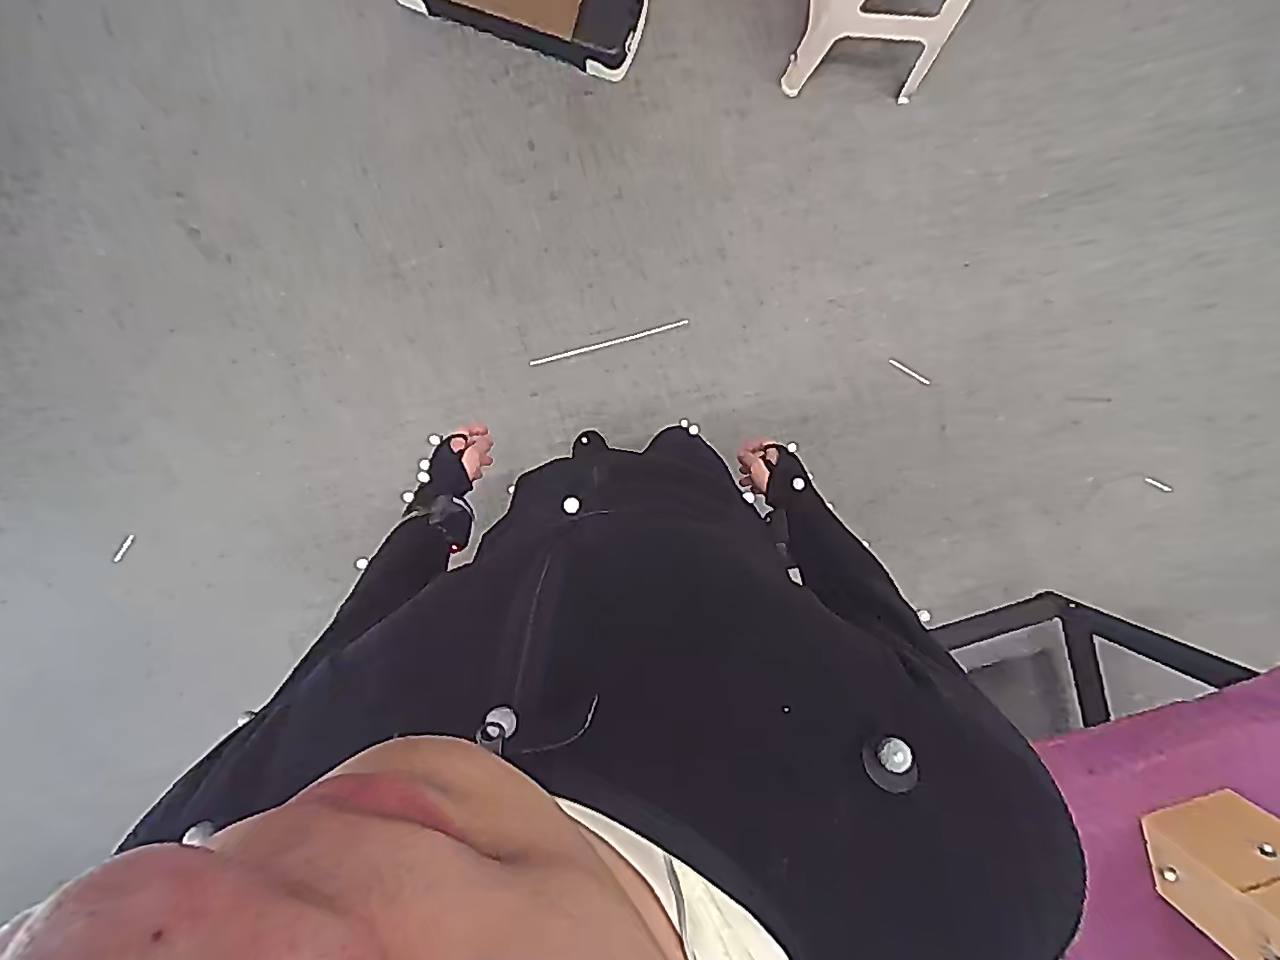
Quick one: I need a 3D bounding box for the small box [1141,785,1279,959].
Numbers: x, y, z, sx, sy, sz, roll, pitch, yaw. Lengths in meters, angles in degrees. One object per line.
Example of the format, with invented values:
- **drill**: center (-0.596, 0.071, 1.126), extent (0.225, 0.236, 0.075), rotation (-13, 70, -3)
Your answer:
- **small box**: center (1.040, 0.670, 0.937), extent (0.179, 0.176, 0.168), rotation (-18, 96, 0)
